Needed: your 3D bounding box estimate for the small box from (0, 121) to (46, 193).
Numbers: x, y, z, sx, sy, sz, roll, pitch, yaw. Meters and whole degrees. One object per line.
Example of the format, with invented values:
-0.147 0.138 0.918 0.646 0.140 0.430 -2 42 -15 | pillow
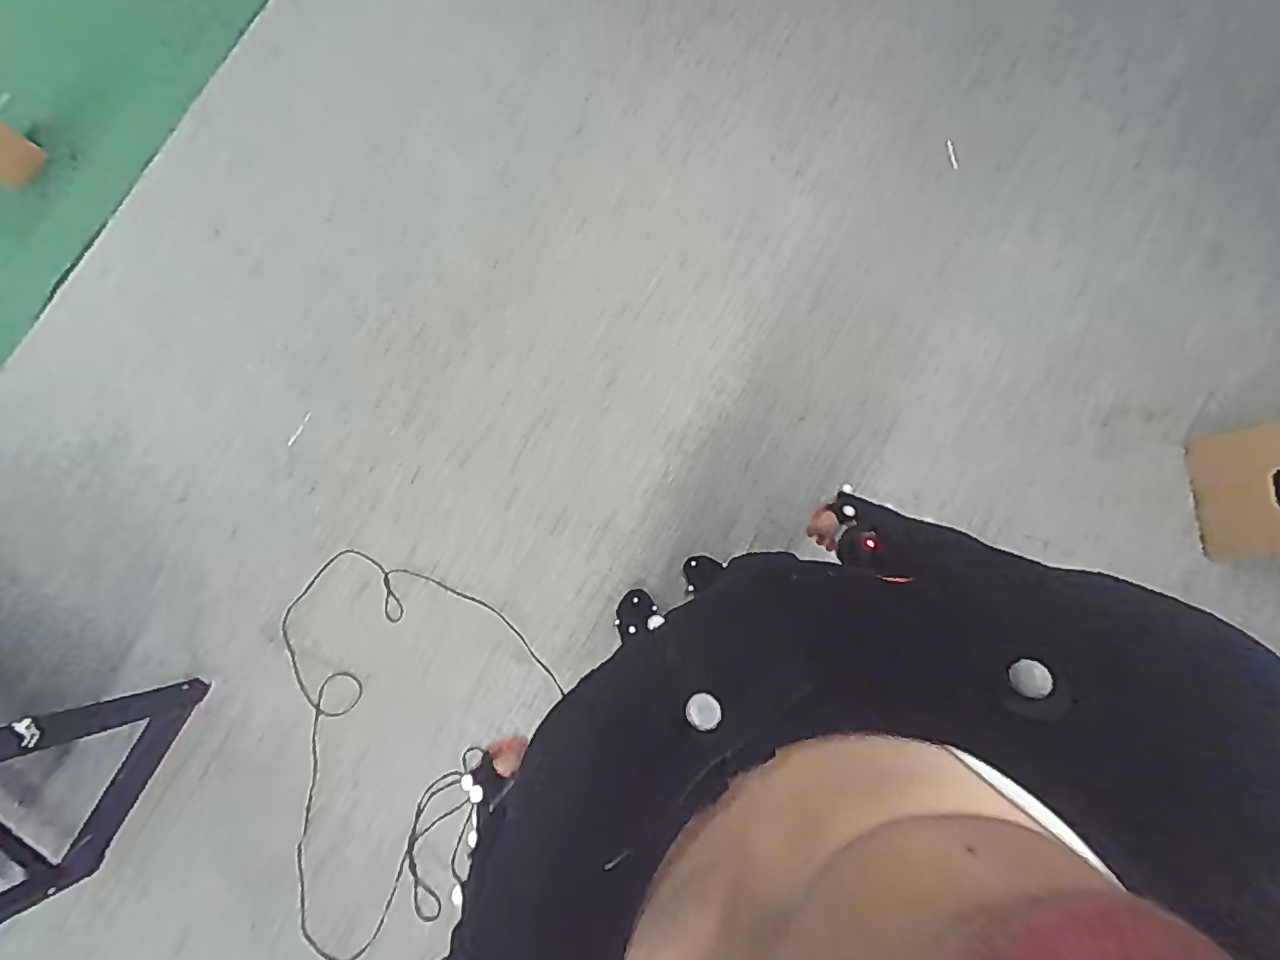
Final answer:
-2.126 -1.091 1.767 0.168 0.176 0.179 33 85 8 | small box
